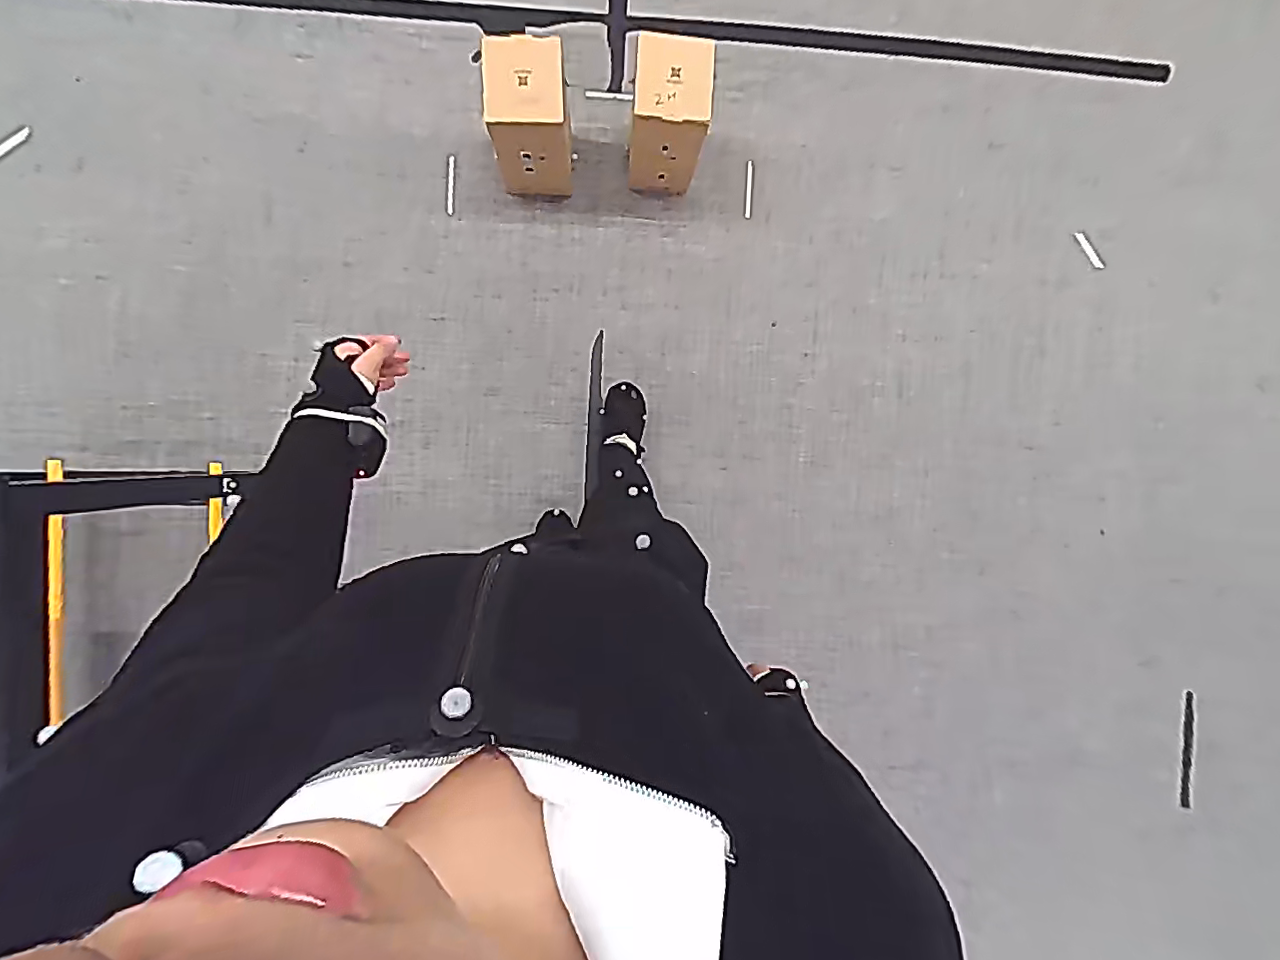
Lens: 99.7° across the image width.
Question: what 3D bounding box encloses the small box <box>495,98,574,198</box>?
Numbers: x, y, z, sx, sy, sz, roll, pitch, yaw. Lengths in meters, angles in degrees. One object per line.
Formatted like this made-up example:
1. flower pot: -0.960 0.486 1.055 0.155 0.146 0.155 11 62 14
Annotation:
1. small box: -0.261 -0.835 1.365 0.179 0.176 0.168 0 92 -4

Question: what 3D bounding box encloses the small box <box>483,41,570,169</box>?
1. small box: -0.246 -0.827 1.203 0.168 0.176 0.179 -2 93 -2

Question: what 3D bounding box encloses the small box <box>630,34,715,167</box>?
1. small box: 0.066 -0.848 1.224 0.168 0.176 0.179 3 92 -4

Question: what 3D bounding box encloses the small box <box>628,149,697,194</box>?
1. small box: 0.058 -0.861 1.389 0.168 0.176 0.179 2 93 -4
